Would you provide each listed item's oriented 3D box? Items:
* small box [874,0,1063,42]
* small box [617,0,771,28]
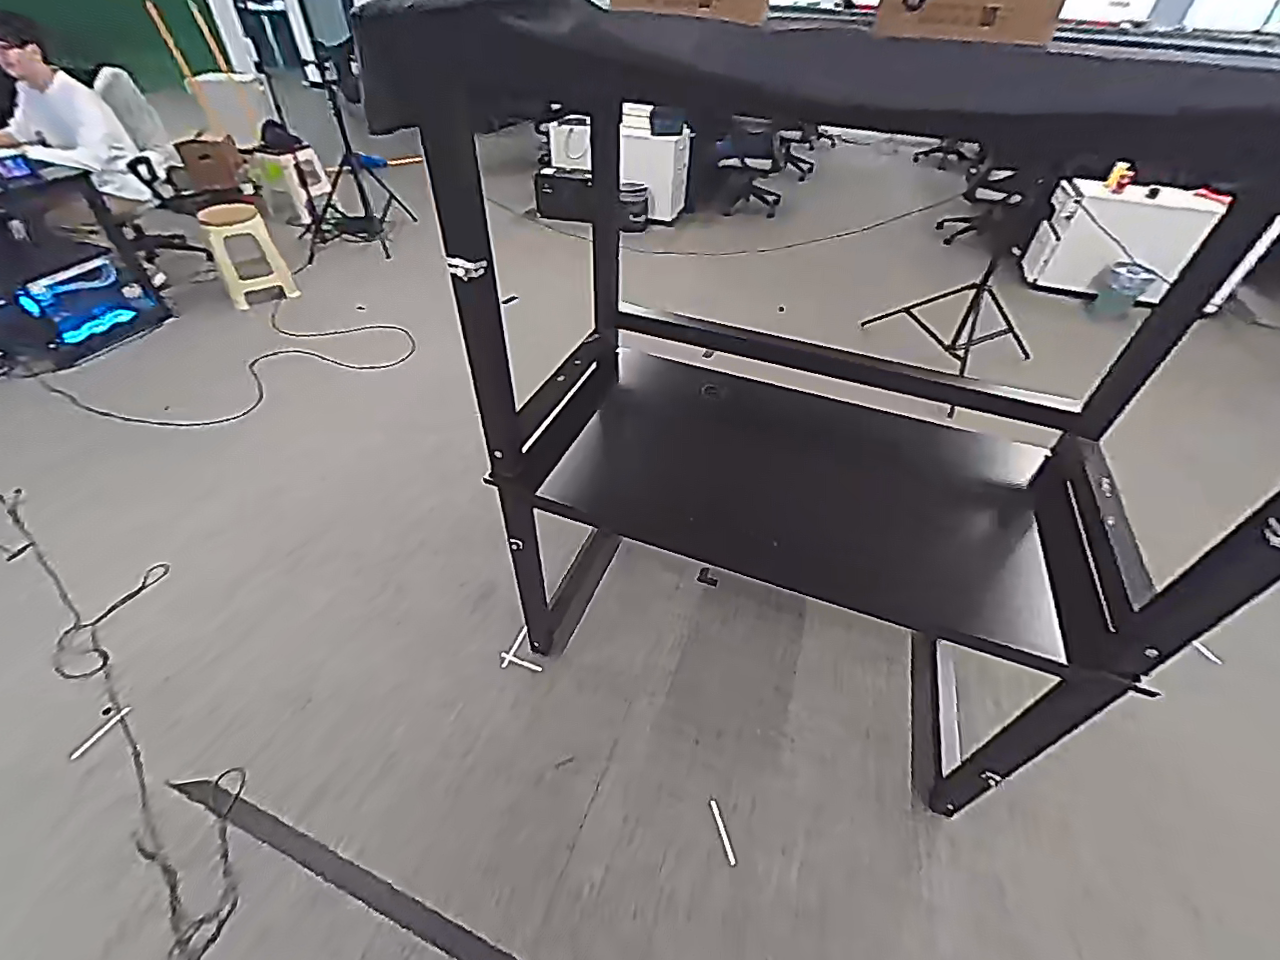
[{"bbox_3d":[0.345,-0.548,0.537,0.168,0.176,0.179,16,43,13],"label":"small box"},{"bbox_3d":[0.070,-0.611,0.589,0.168,0.176,0.179,10,43,8],"label":"small box"}]
